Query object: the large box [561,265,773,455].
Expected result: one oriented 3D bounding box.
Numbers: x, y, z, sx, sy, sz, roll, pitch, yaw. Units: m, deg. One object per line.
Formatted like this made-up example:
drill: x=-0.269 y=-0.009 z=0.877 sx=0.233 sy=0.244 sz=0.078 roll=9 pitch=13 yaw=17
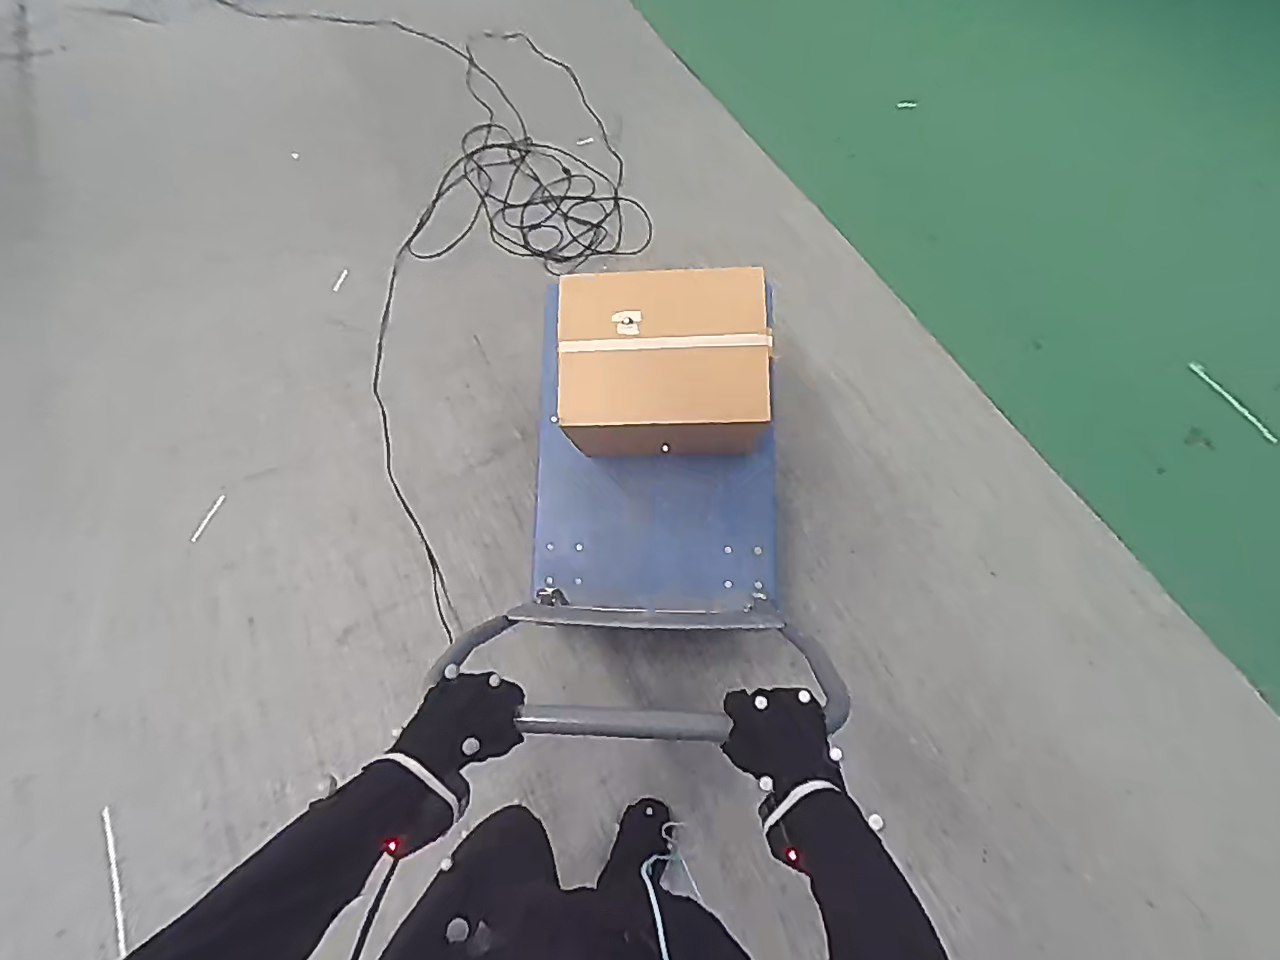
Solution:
large box: x=0.060 y=-0.236 z=1.184 sx=0.408 sy=0.320 sz=0.320 roll=-2 pitch=81 yaw=5
